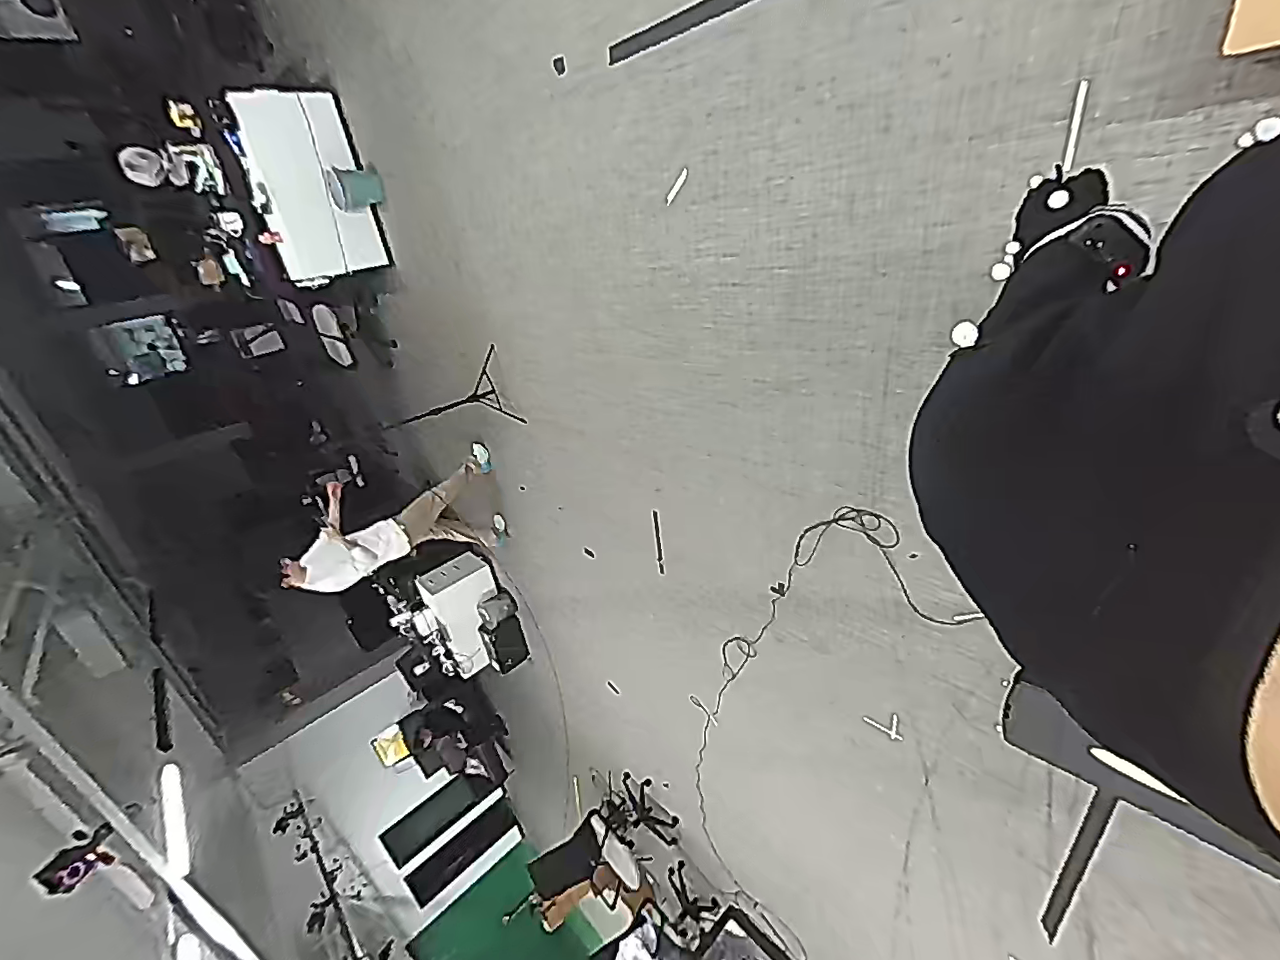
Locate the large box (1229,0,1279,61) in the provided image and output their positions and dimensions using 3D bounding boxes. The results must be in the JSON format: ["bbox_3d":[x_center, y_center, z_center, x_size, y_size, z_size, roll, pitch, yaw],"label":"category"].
[{"bbox_3d":[0.994,-0.721,0.601,0.408,0.320,0.320,18,128,44],"label":"large box"}]
